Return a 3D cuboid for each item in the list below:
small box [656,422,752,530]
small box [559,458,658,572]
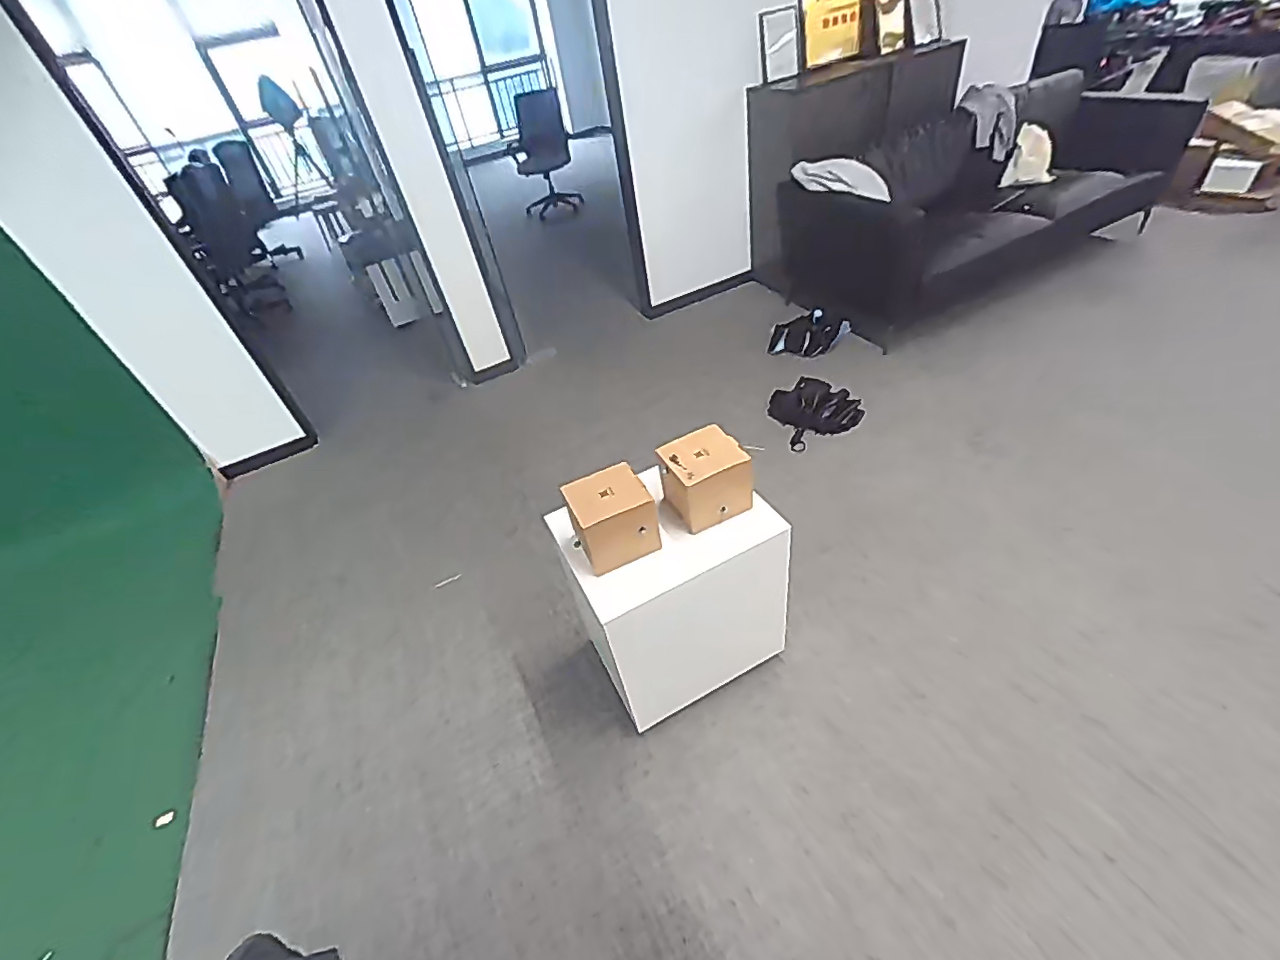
[{"bbox_3d":[0.157,-0.009,1.333,0.179,0.176,0.168,-23,43,-14],"label":"small box"},{"bbox_3d":[-0.068,0.083,1.278,0.179,0.176,0.168,-24,42,-14],"label":"small box"}]
